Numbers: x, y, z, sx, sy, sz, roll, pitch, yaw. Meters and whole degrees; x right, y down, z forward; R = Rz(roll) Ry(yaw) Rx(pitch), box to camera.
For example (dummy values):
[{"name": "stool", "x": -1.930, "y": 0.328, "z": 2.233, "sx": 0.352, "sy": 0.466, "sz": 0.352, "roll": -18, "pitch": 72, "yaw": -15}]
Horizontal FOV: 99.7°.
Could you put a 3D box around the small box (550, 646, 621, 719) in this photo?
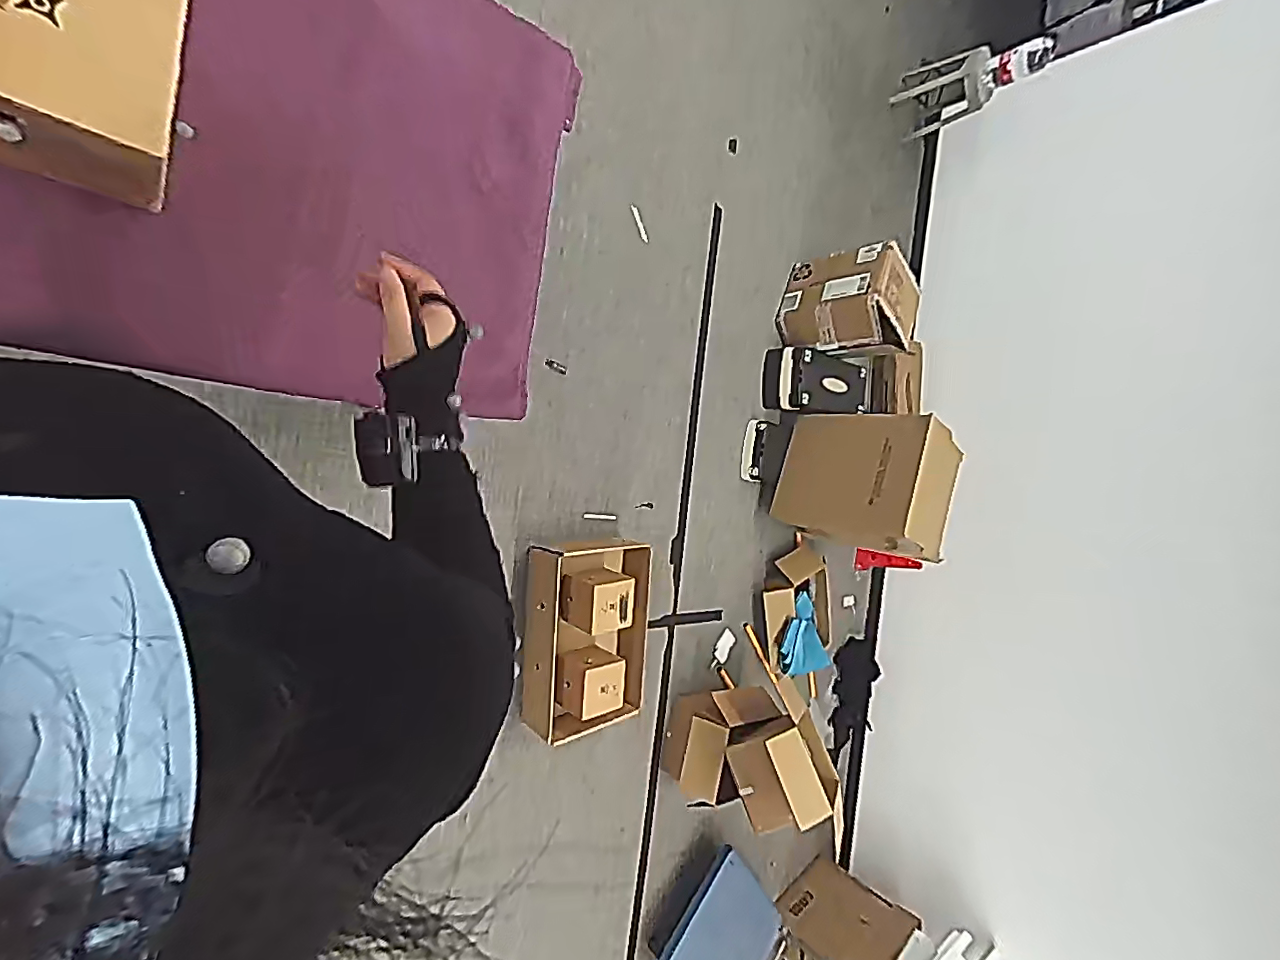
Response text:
[{"name": "small box", "x": -0.188, "y": 0.679, "z": 1.832, "sx": 0.179, "sy": 0.176, "sz": 0.168, "roll": 2, "pitch": 94, "yaw": -44}]

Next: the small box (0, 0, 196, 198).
[{"name": "small box", "x": -0.518, "y": -0.376, "z": 0.474, "sx": 0.179, "sy": 0.176, "sz": 0.168, "roll": 8, "pitch": 90, "yaw": -42}]
